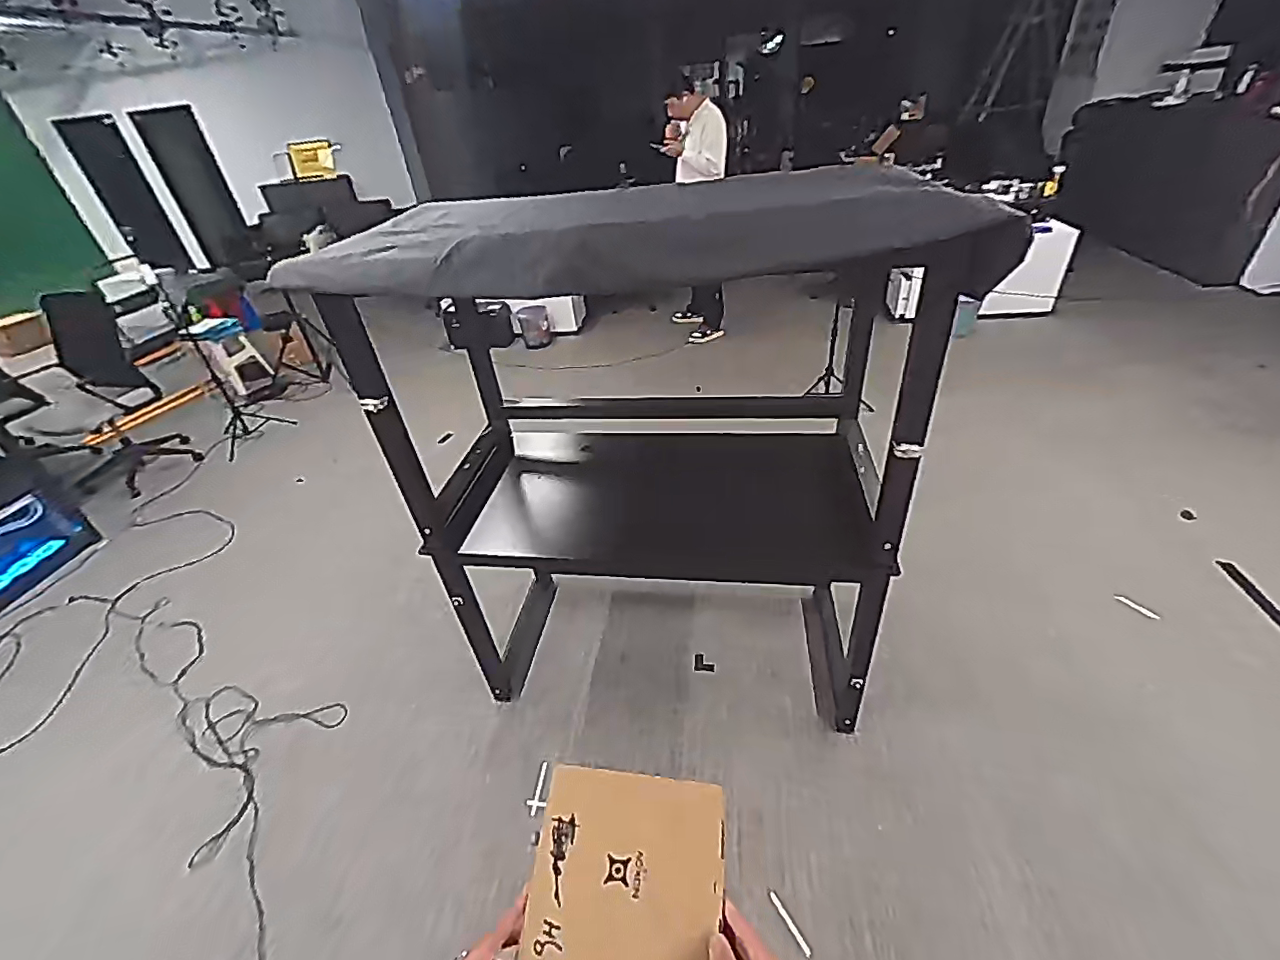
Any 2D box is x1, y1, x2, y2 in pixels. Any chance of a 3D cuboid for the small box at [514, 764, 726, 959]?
[{"bbox_3d":[-0.010,0.411,0.553,0.179,0.176,0.168,4,49,6],"label":"small box"}]
